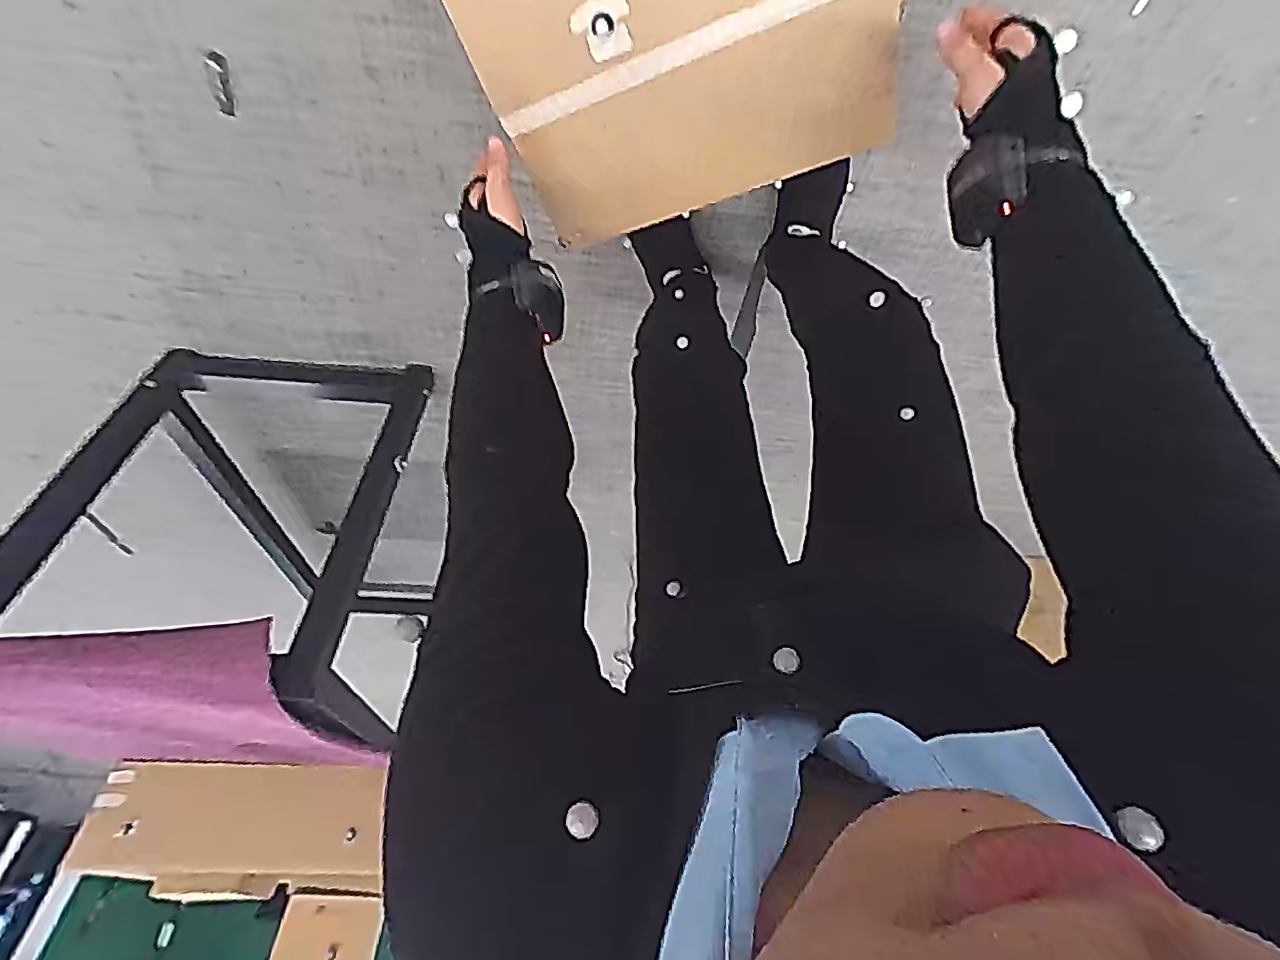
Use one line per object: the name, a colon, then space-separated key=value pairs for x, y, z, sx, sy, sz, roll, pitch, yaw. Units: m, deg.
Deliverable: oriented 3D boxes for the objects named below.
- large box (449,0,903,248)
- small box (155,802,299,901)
large box: x=0.048 y=-0.544 z=0.619 sx=0.408 sy=0.320 sz=0.320 roll=-12 pitch=139 yaw=16
small box: x=-0.904 y=0.826 z=1.205 sx=0.168 sy=0.176 sz=0.179 roll=1 pitch=141 yaw=-3
